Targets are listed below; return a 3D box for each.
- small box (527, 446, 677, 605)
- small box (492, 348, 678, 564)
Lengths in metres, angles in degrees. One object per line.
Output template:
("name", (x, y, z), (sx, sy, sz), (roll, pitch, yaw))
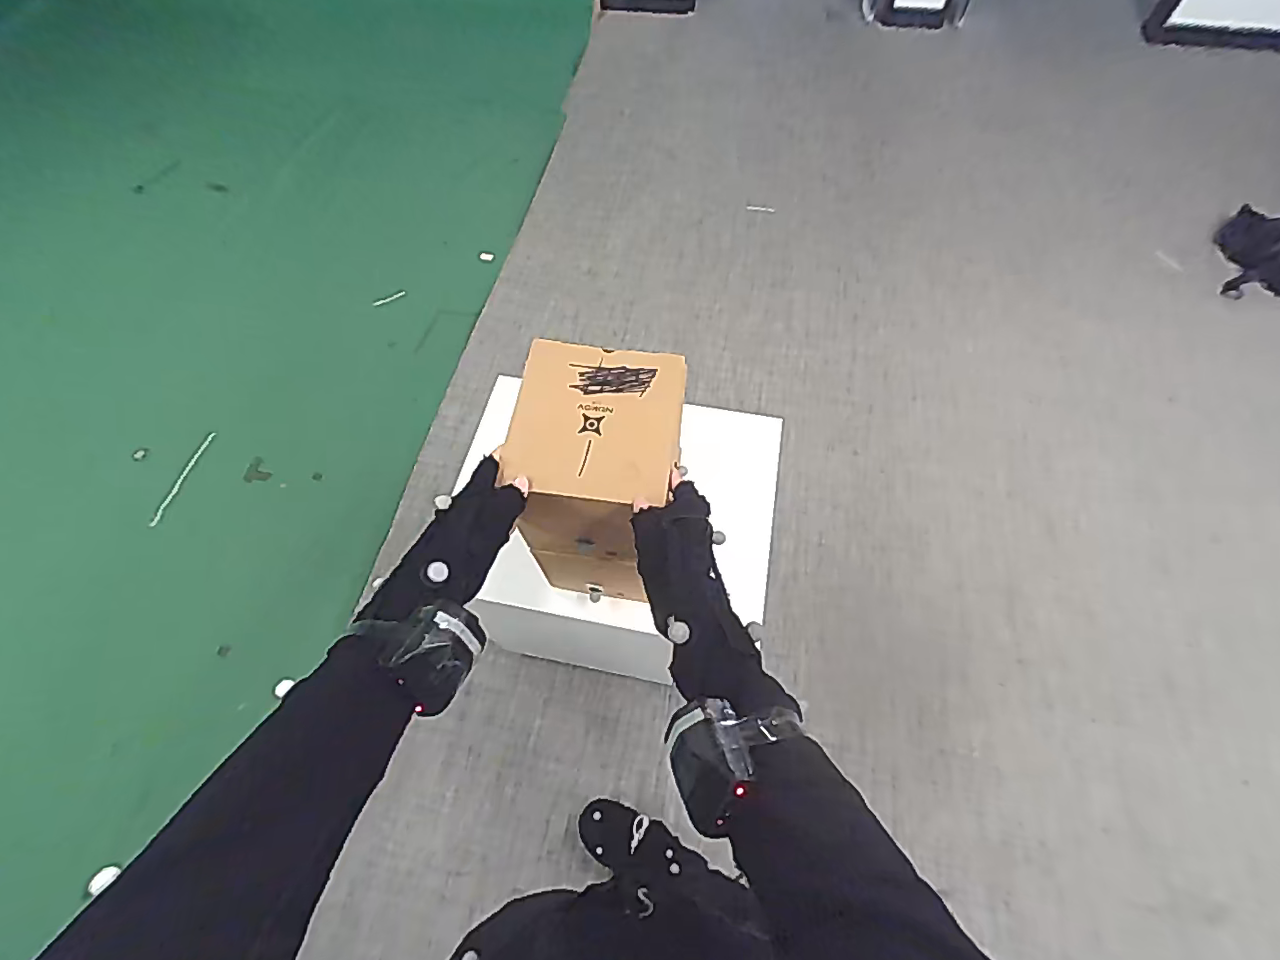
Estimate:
("small box", (-0.042, 0.058, 0.749), (0.168, 0.176, 0.179), (6, 64, 6))
("small box", (-0.048, -0.022, 0.606), (0.168, 0.176, 0.179), (4, 62, 4))
